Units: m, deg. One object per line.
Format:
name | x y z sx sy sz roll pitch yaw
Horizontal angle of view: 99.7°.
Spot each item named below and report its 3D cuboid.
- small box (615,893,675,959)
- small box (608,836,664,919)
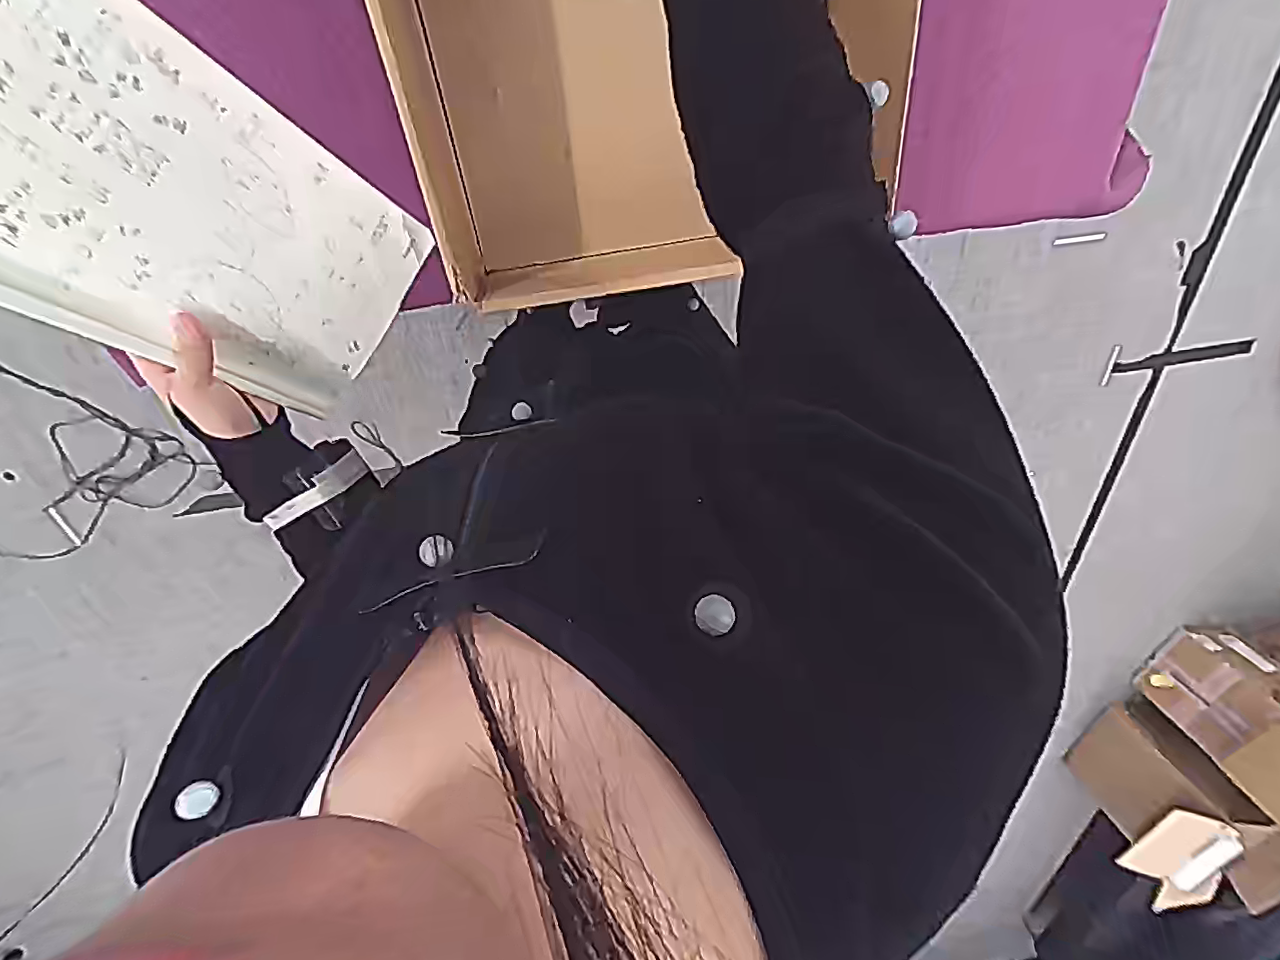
small box | 0.013 1.474 1.748 0.168 0.176 0.179 -5 123 -9
small box | -0.018 1.376 1.877 0.179 0.176 0.168 -7 124 -8
